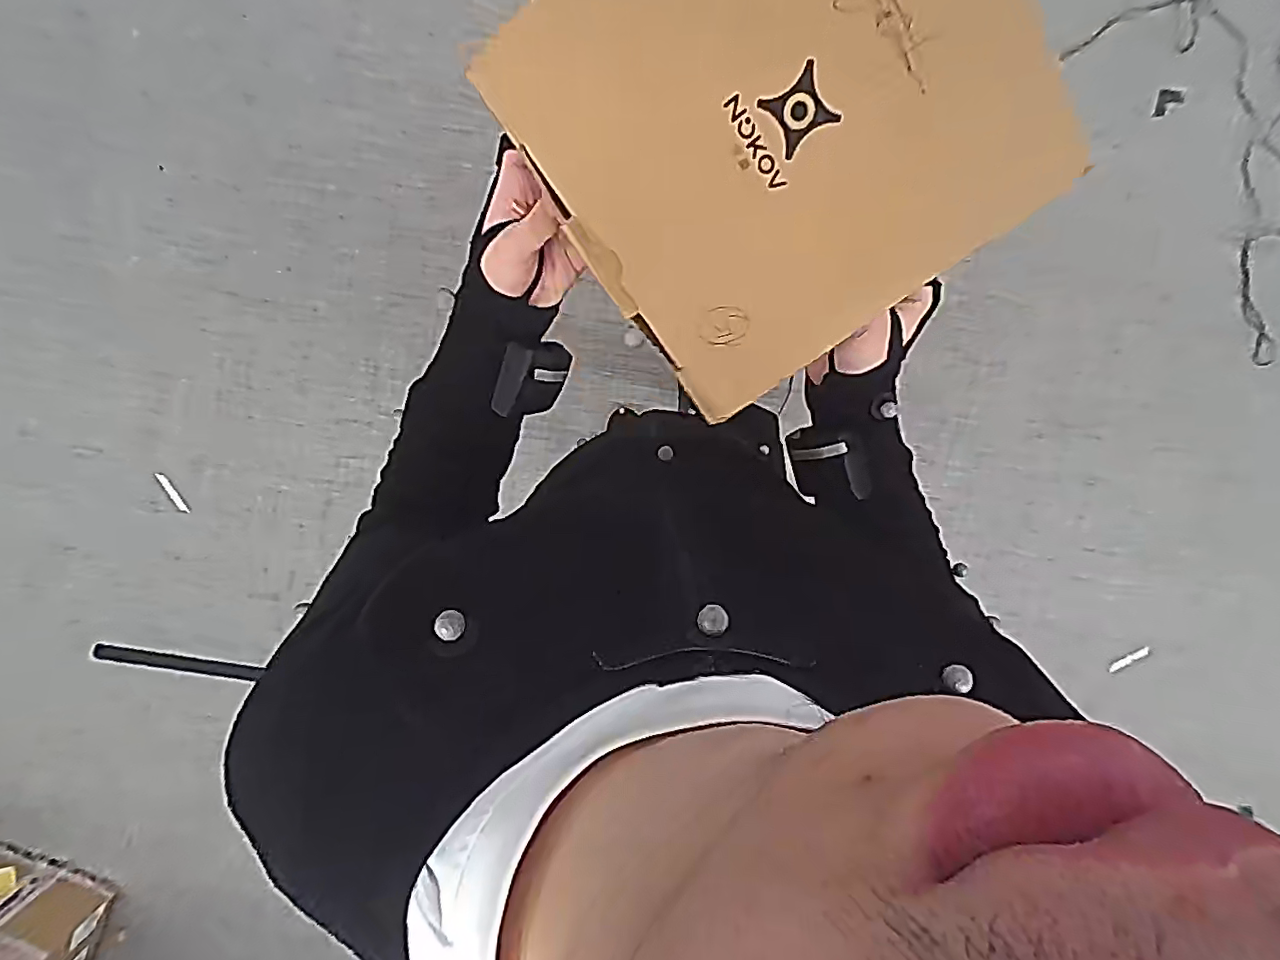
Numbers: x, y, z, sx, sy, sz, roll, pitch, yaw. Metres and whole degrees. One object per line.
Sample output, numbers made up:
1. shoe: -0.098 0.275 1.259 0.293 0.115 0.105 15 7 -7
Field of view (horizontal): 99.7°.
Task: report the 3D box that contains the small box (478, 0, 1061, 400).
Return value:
1. small box: 0.052 -0.171 0.285 0.179 0.176 0.168 -36 108 11
